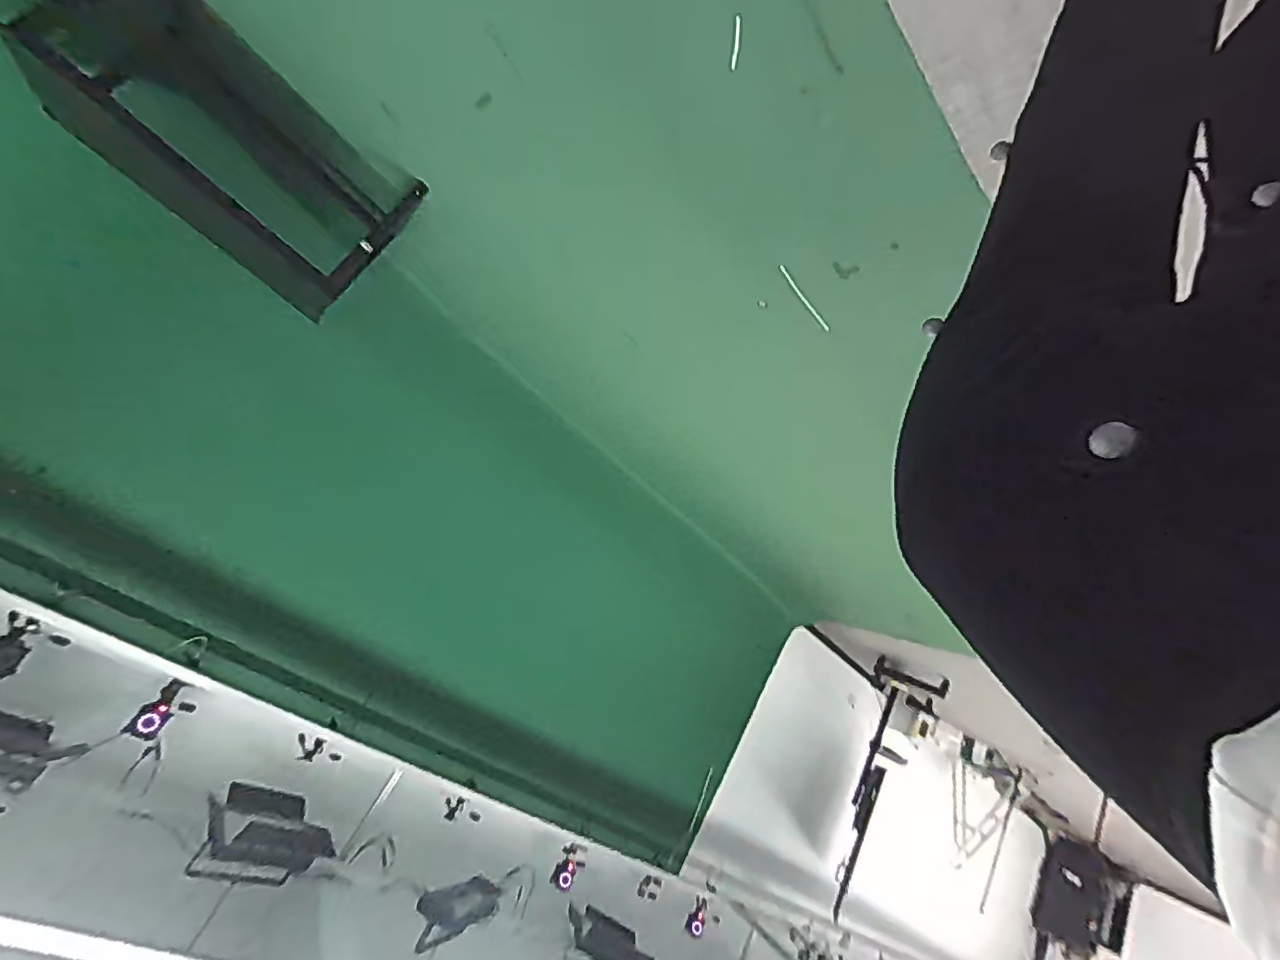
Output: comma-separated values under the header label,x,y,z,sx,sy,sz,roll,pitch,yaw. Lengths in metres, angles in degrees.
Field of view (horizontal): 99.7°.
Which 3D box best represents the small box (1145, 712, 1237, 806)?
label,x,y,z,sx,sy,sz,roll,pitch,yaw
small box,1.661,0.835,1.627,0.179,0.176,0.168,42,158,-28
